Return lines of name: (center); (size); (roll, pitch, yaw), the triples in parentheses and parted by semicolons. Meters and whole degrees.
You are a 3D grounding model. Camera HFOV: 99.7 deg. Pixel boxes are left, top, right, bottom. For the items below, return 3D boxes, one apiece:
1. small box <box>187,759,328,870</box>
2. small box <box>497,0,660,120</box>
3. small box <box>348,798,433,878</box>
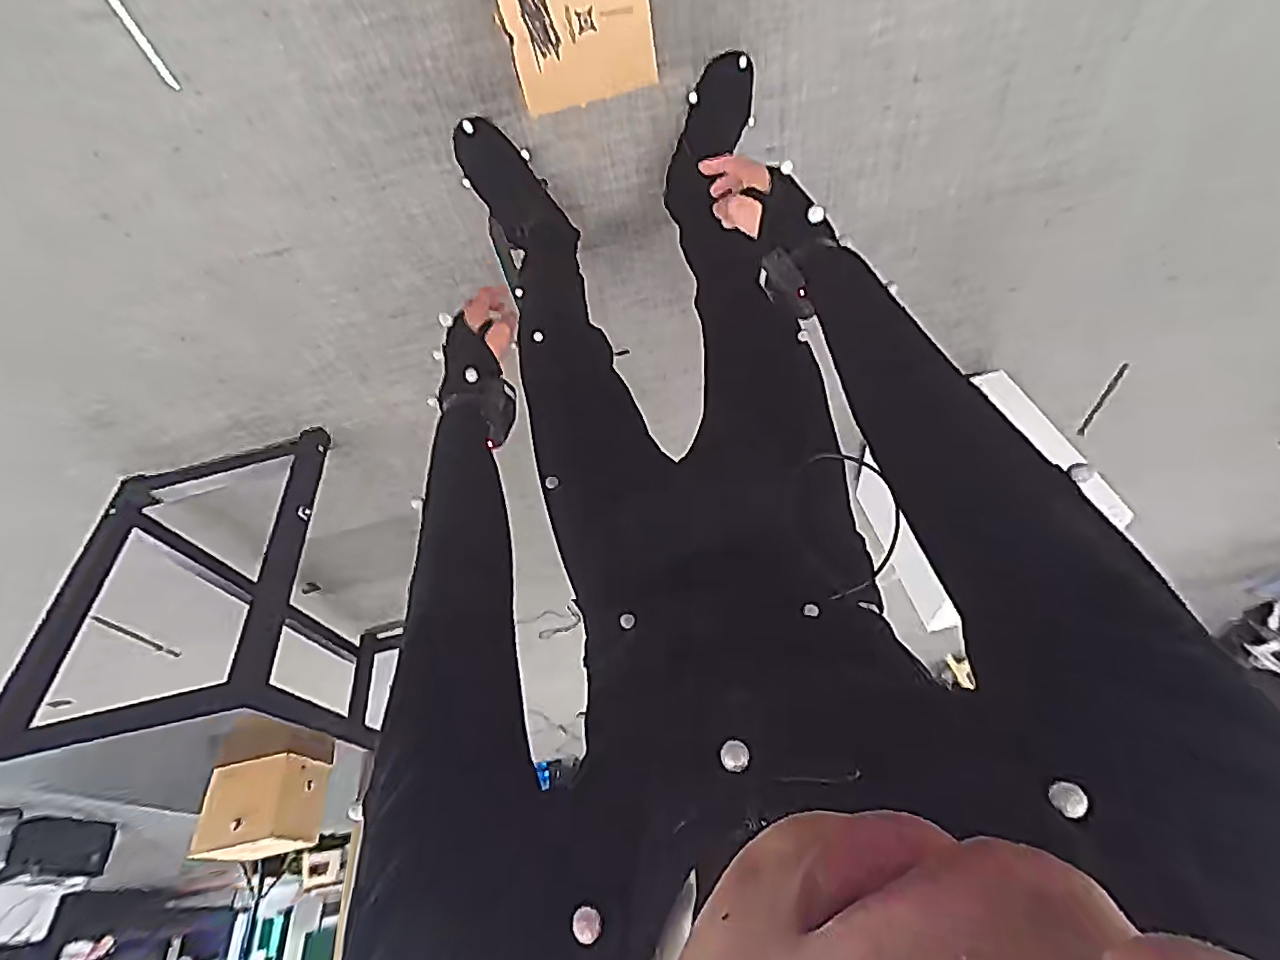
small box: (-0.834, 0.743, 1.202); (0.179, 0.176, 0.168); (-14, 141, 2)
small box: (-0.083, -0.591, 0.684); (0.179, 0.176, 0.168); (-14, 141, 0)
small box: (-0.736, 1.070, 1.616); (0.179, 0.176, 0.168); (-15, 140, 3)
